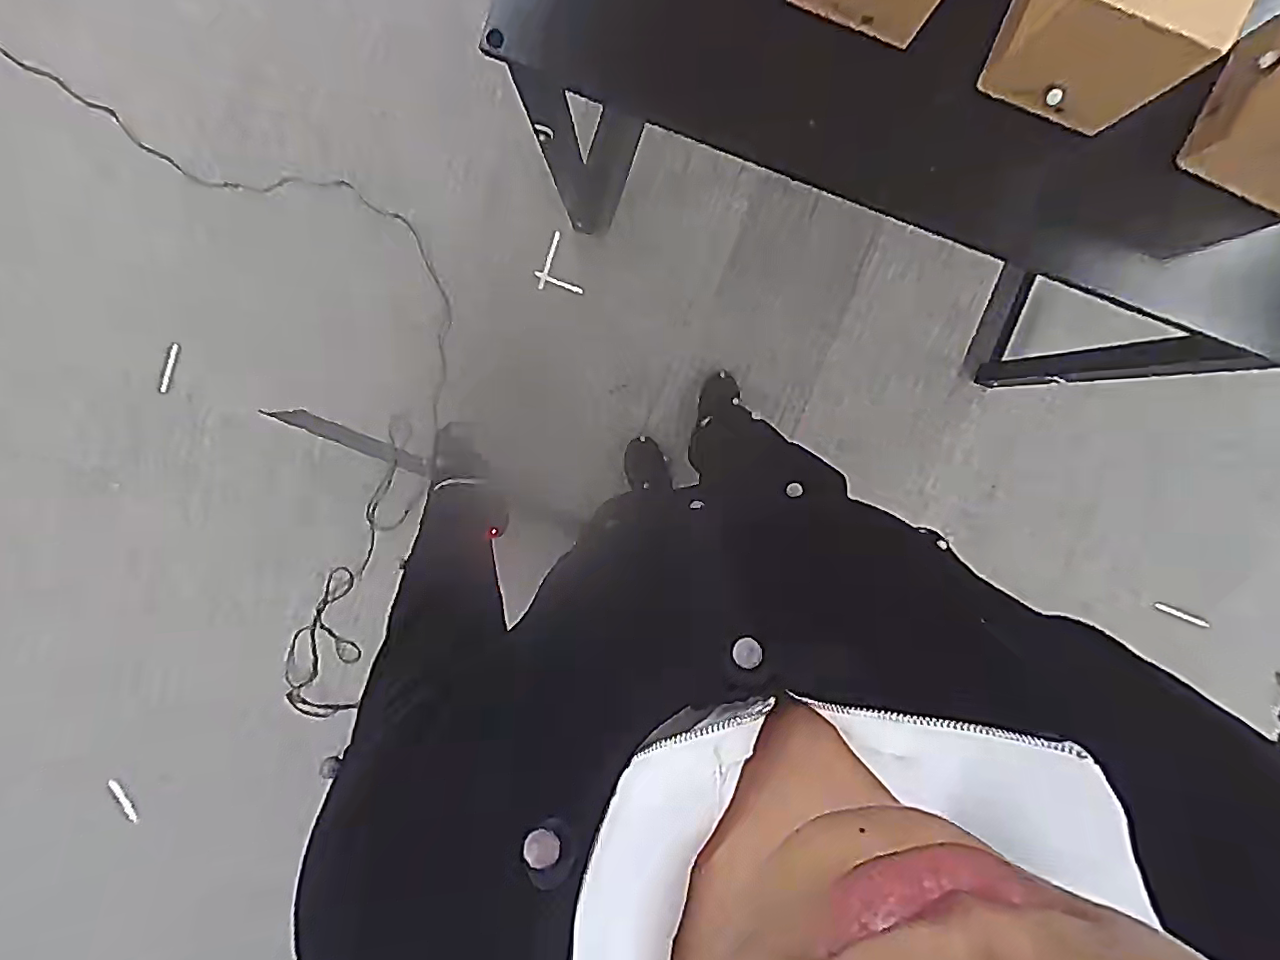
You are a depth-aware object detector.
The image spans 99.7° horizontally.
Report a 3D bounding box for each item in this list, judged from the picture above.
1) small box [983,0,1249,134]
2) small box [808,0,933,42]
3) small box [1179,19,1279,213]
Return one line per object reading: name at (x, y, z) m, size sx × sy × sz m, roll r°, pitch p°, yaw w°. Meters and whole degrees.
small box at (0.528, -0.537, 0.599) m, size 0.168 × 0.176 × 0.179 m, roll 21°, pitch 98°, yaw -2°
small box at (0.284, -0.639, 0.588) m, size 0.168 × 0.176 × 0.179 m, roll 21°, pitch 97°, yaw -3°
small box at (0.790, -0.434, 0.609) m, size 0.179 × 0.176 × 0.168 m, roll 24°, pitch 97°, yaw -1°
